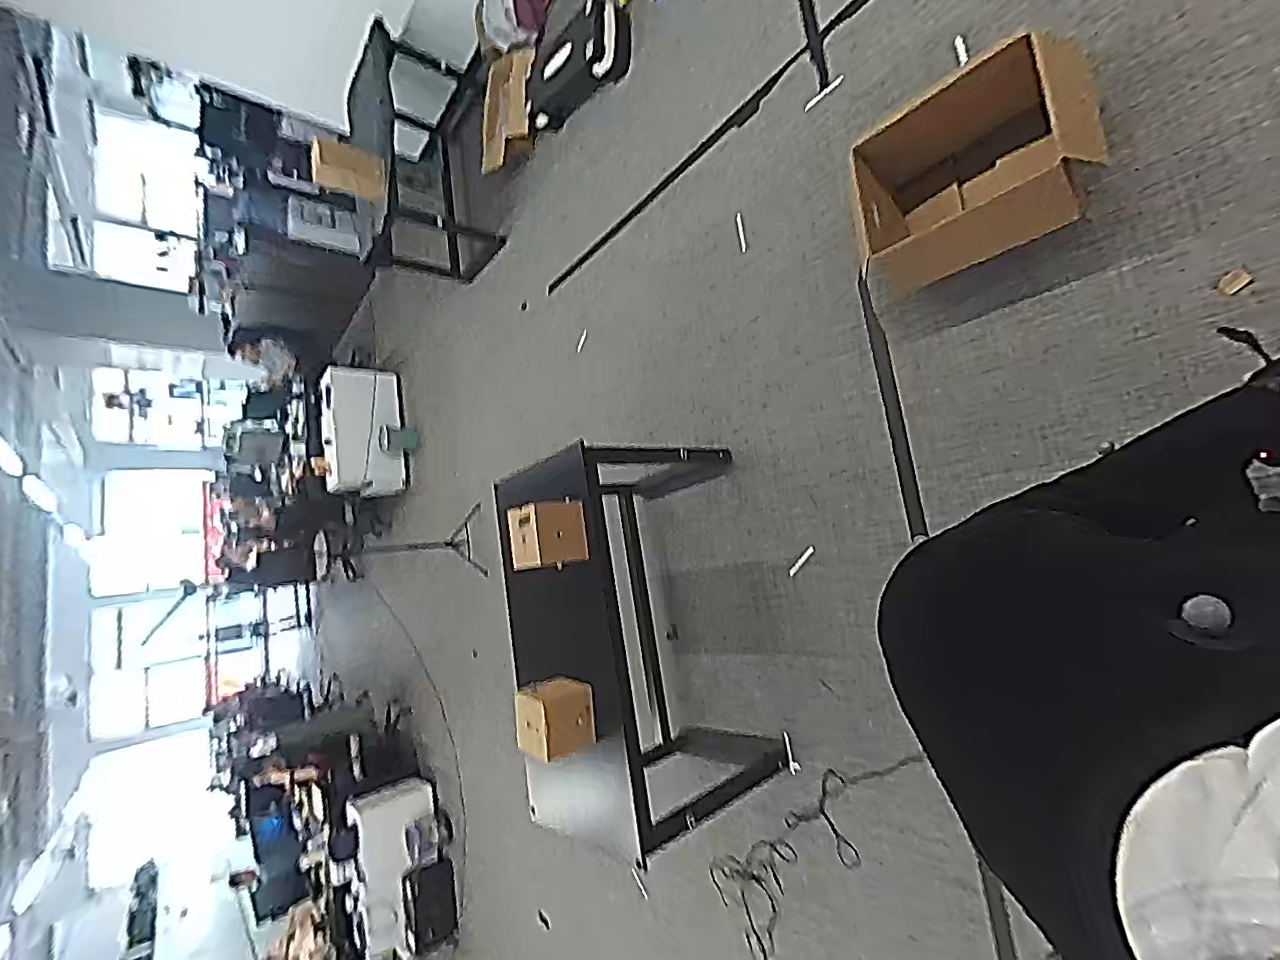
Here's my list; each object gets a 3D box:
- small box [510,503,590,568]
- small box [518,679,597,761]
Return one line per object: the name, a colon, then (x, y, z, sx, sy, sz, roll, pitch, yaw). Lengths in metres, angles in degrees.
small box: (-0.270, 0.164, 1.629, 0.168, 0.176, 0.179, -16, 80, 49)
small box: (-0.247, 0.707, 1.616, 0.179, 0.176, 0.168, -10, 83, 49)
